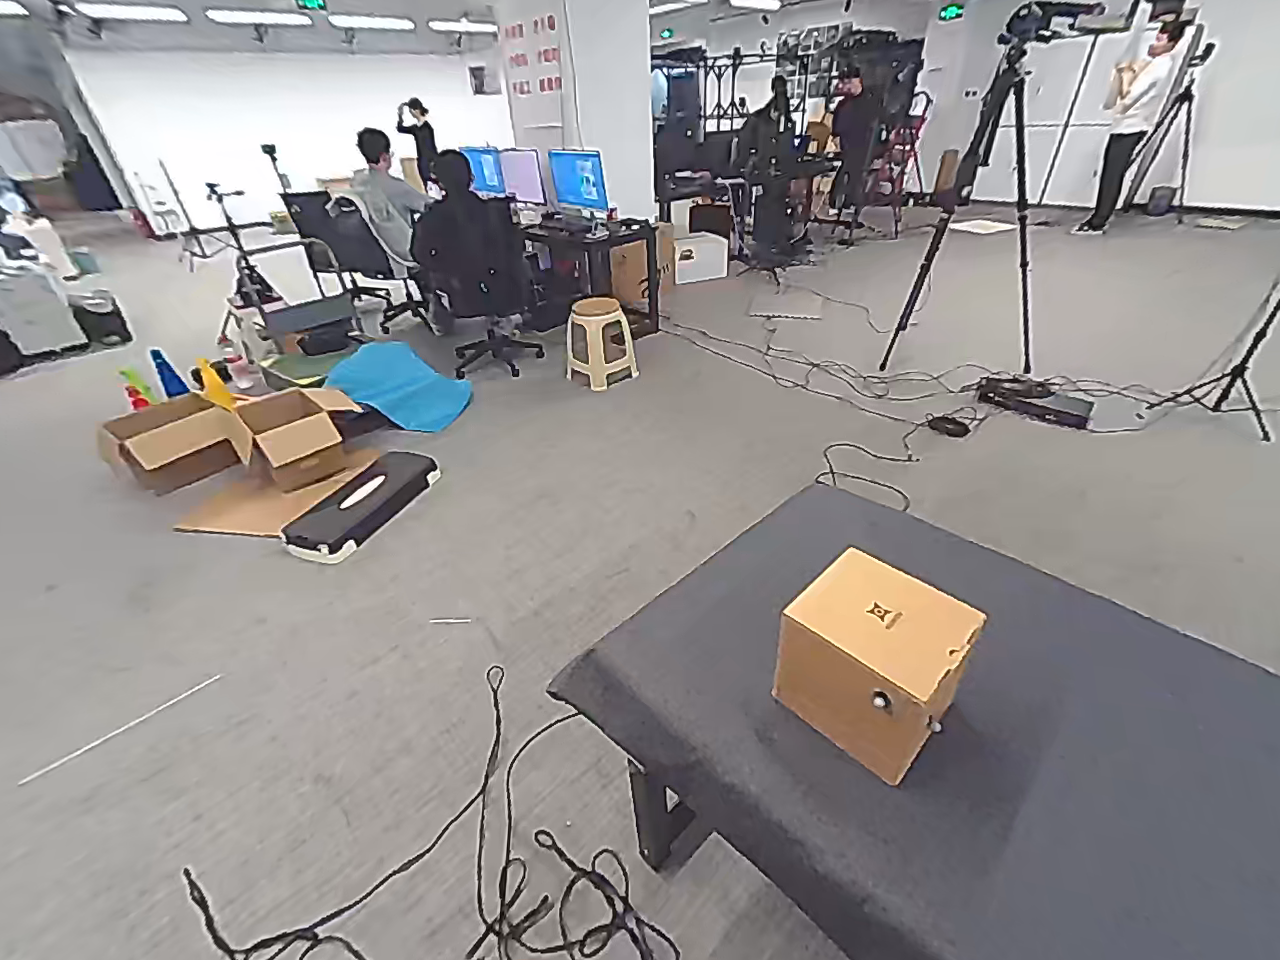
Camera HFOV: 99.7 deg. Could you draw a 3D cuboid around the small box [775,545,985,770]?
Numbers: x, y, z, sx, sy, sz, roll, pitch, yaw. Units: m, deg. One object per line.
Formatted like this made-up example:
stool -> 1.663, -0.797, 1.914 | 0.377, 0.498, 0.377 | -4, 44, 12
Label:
small box -> 0.290, 0.219, 0.684 | 0.168, 0.176, 0.179 | -30, 42, -33
